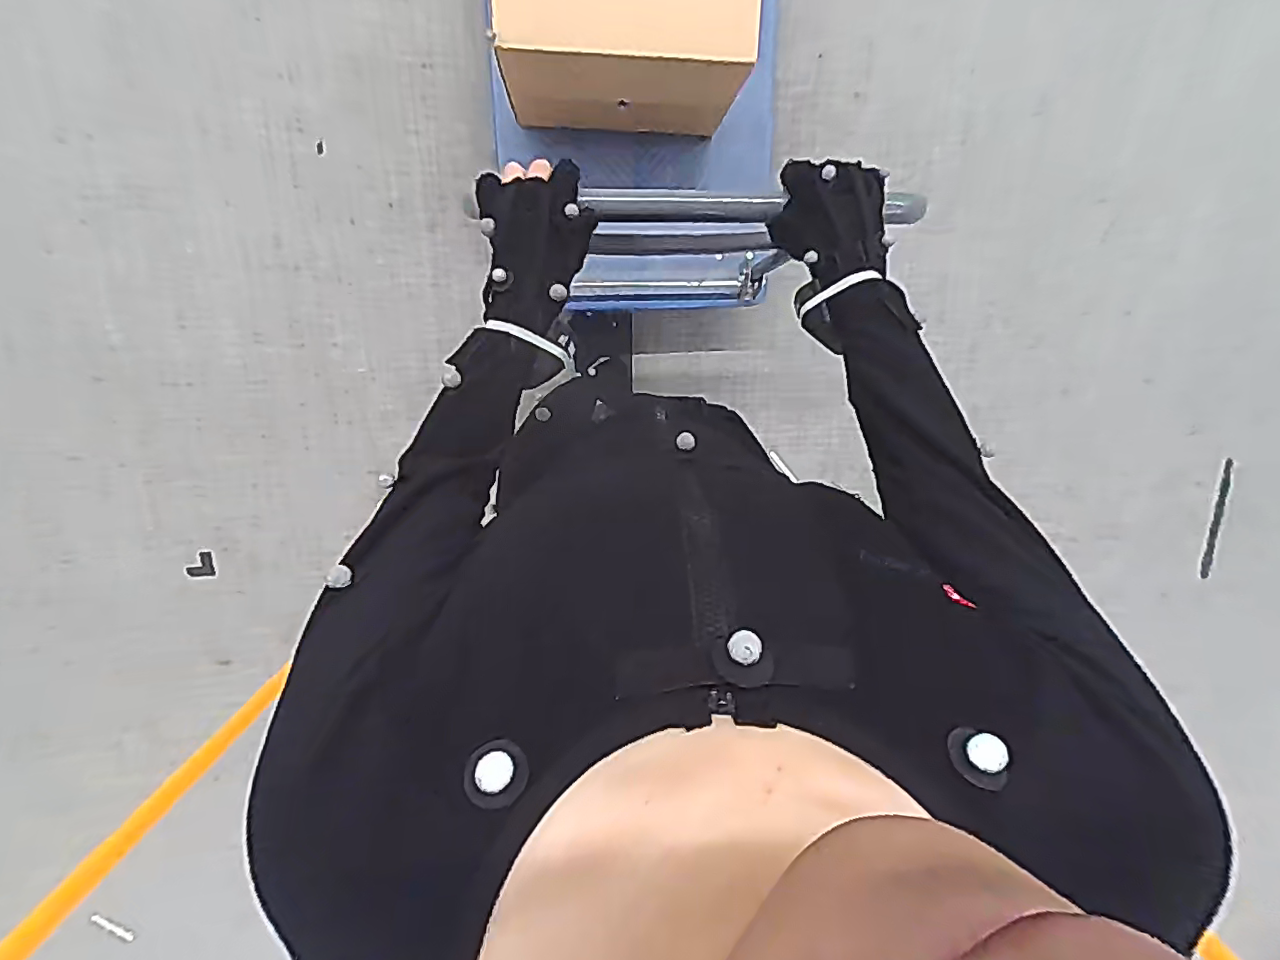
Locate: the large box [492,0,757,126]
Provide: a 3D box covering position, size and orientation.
[{"bbox_3d":[-0.031,-0.839,0.931,0.408,0.320,0.320,-1,104,-5],"label":"large box"}]
